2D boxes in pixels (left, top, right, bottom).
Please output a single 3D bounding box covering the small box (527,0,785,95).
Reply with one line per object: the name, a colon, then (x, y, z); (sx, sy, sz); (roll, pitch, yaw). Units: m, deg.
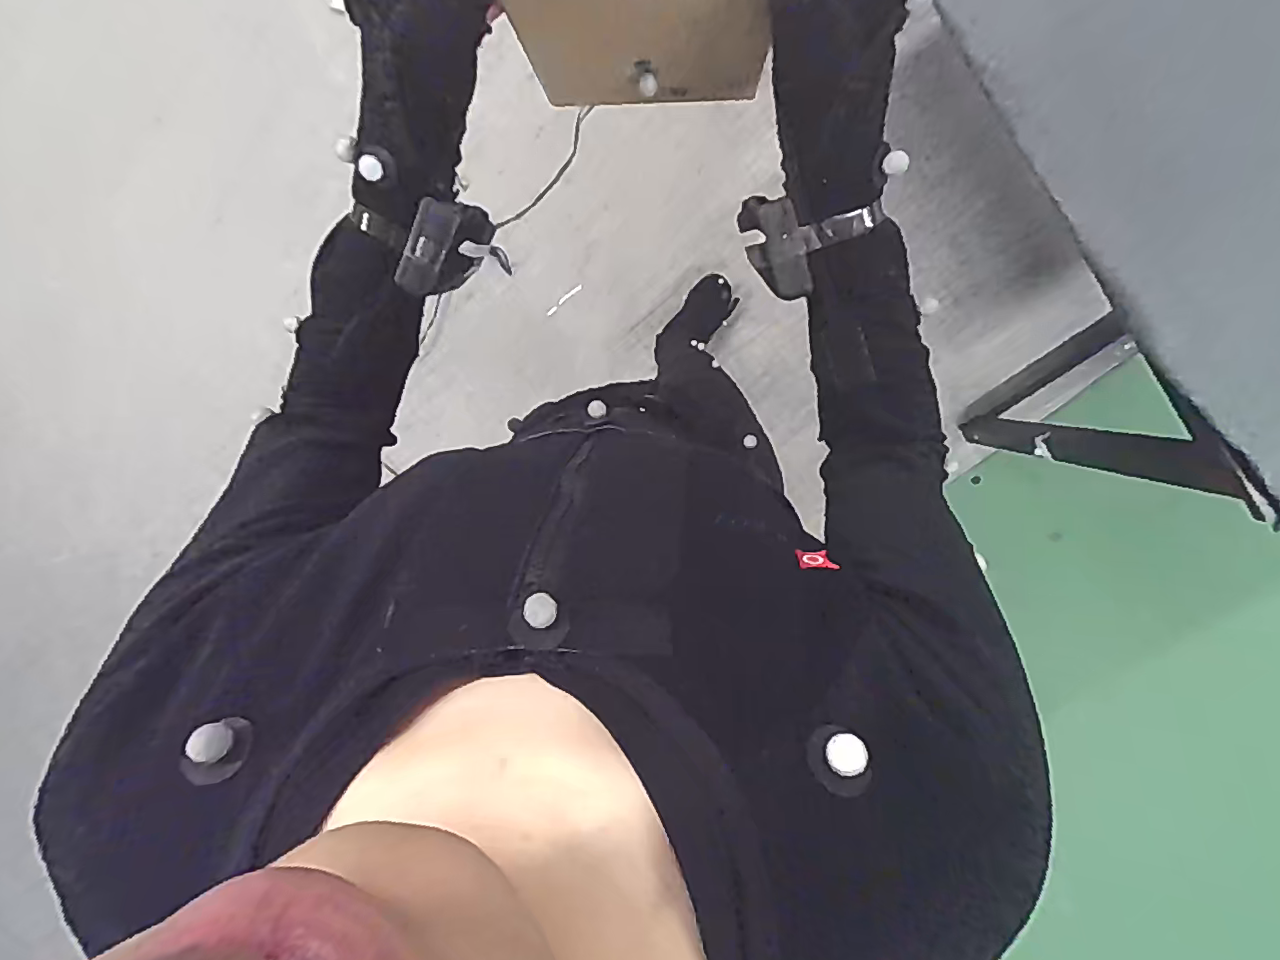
small box: (0.008, -0.376, 0.335); (0.168, 0.176, 0.179); (1, 103, 4)
